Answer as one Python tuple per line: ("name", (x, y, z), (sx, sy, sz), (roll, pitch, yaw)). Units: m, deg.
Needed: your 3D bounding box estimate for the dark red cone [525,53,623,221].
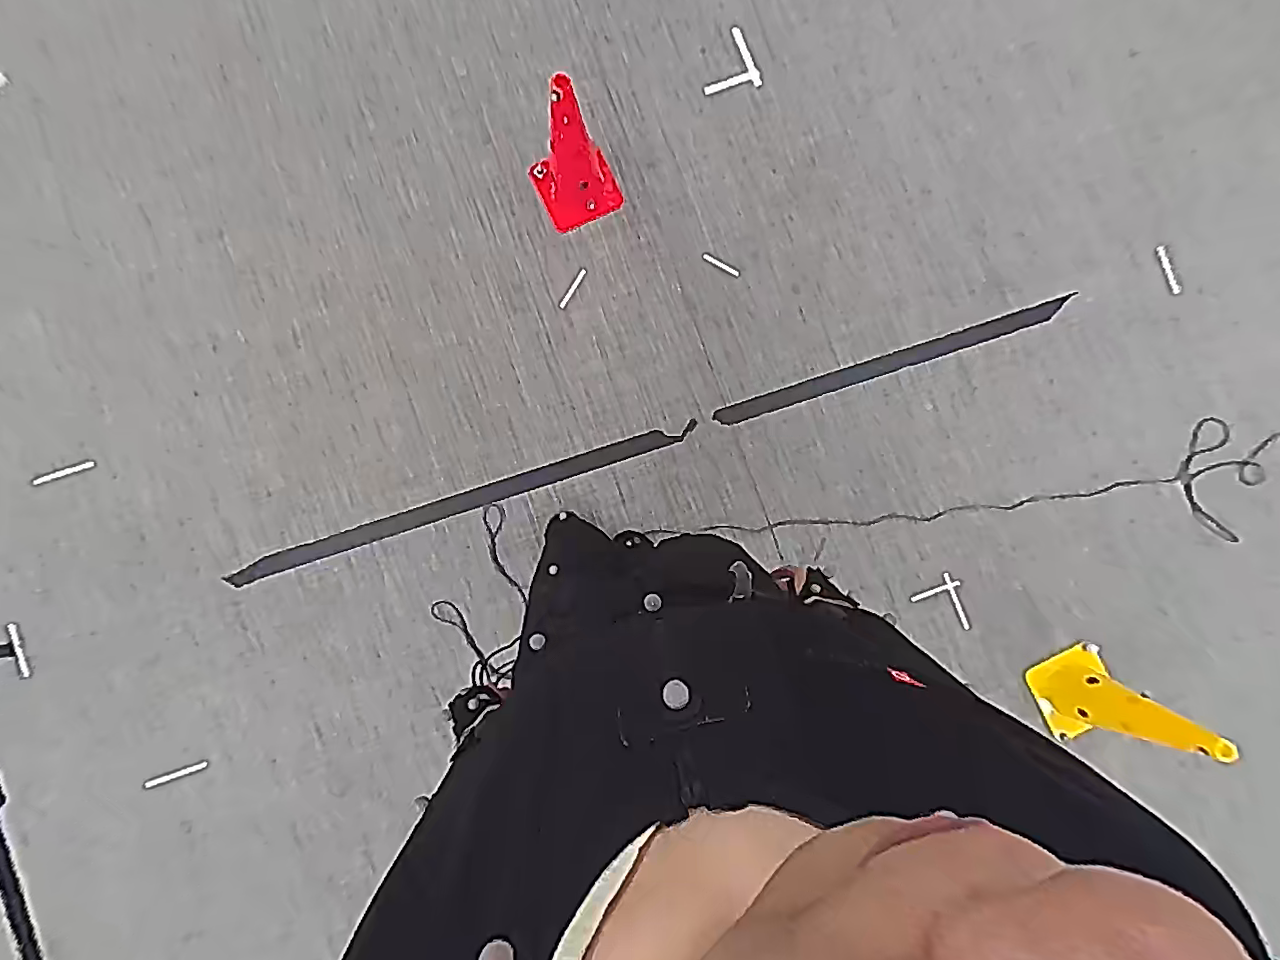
("dark red cone", (-0.163, -0.786, 1.220), (0.202, 0.394, 0.201), (-27, 89, -3))
